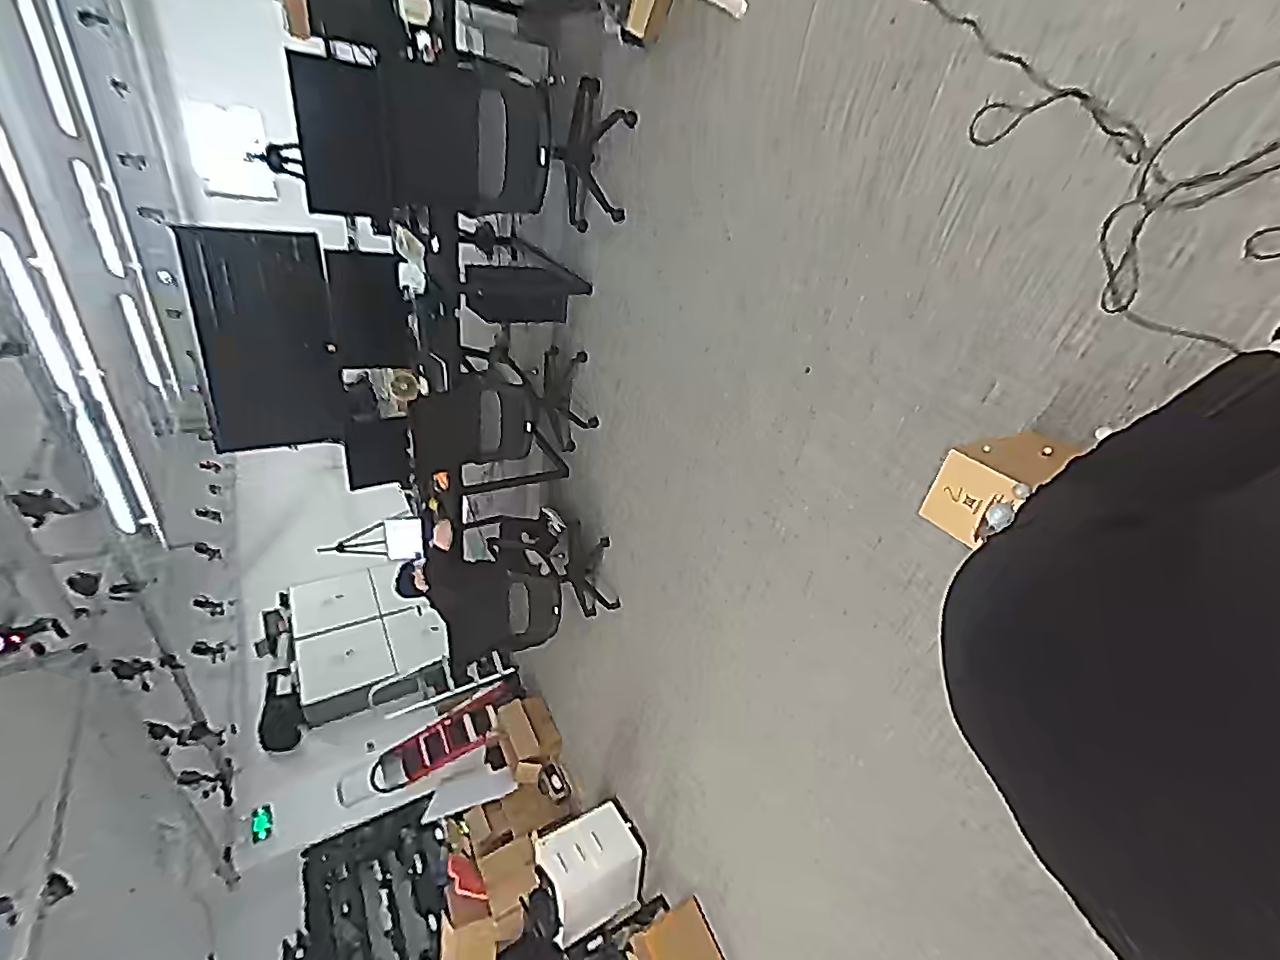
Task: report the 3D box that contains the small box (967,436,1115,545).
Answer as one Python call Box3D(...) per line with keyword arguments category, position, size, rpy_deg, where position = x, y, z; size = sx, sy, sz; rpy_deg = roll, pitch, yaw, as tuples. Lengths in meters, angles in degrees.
Box3D(category="small box", position=(0.864, 0.013, 1.170), size=(0.179, 0.176, 0.168), rpy_deg=(39, 132, 46))
